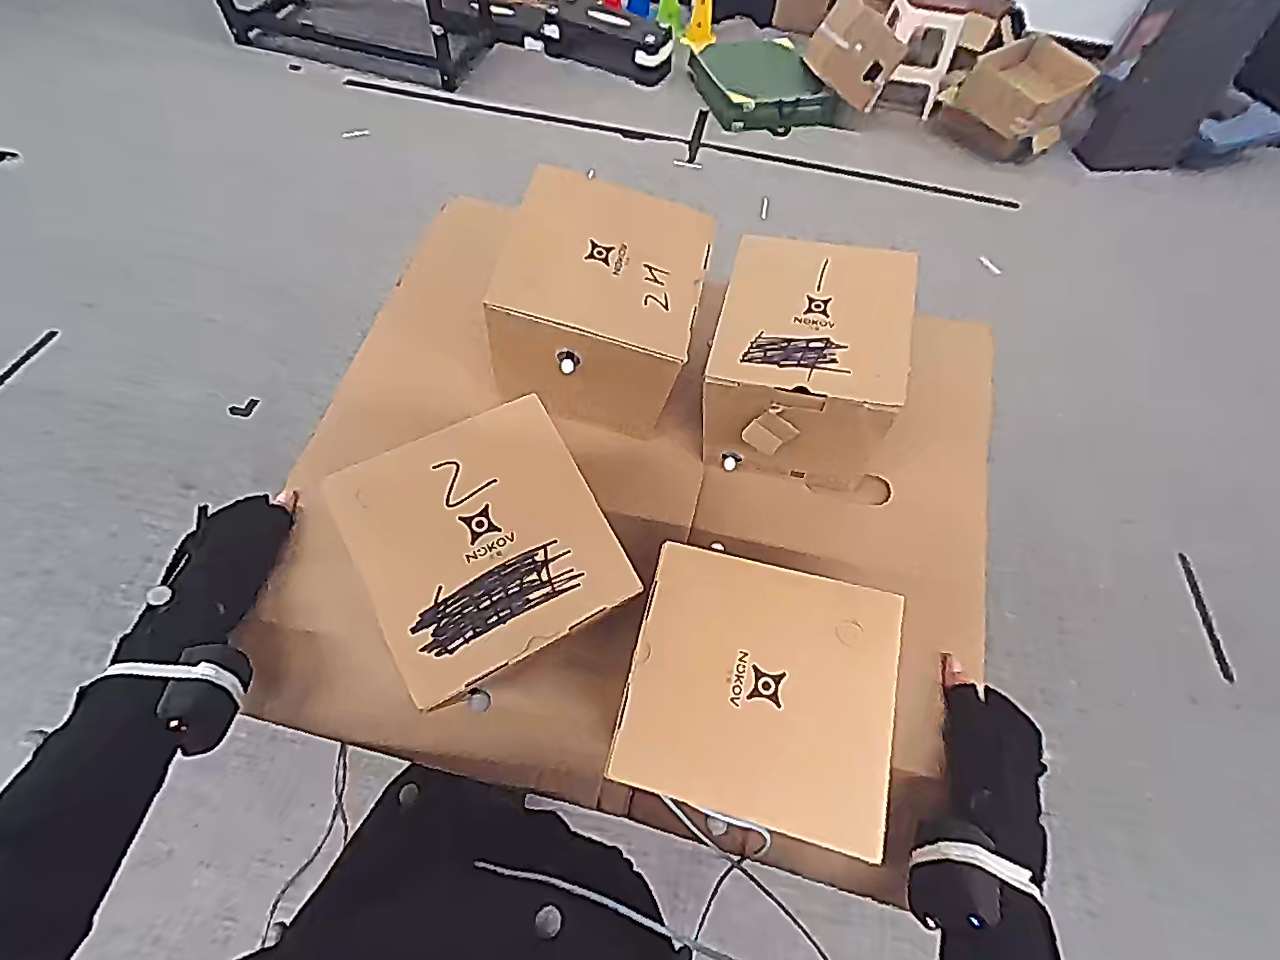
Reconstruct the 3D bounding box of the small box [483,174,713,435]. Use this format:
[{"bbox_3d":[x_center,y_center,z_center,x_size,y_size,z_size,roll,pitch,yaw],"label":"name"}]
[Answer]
[{"bbox_3d":[-0.044,-0.165,0.559,0.179,0.176,0.168,16,69,-5],"label":"small box"}]
